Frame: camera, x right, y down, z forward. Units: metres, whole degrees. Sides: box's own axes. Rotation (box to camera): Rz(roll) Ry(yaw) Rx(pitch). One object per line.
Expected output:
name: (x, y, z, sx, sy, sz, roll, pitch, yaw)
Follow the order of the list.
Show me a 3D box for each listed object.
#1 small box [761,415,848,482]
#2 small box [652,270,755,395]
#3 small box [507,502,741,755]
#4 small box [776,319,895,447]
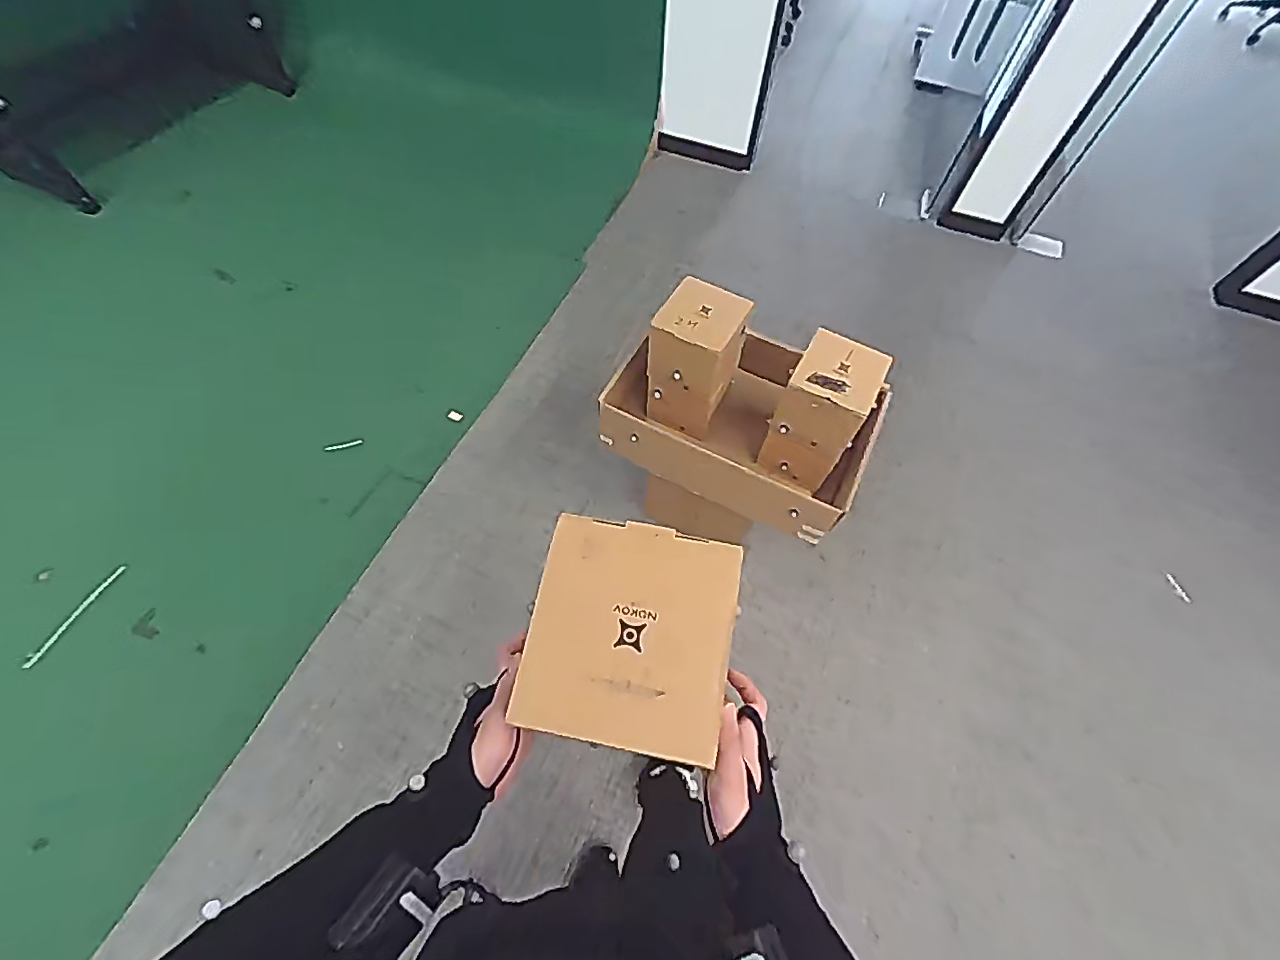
small box: (0.406, -0.126, 1.295, 0.168, 0.176, 0.179, 25, 65, 12)
small box: (0.133, -0.327, 1.210, 0.168, 0.176, 0.179, 27, 65, 13)
small box: (-0.008, 0.140, 0.516, 0.168, 0.176, 0.179, 10, 71, 5)
small box: (0.404, -0.199, 1.147, 0.168, 0.176, 0.179, 27, 65, 12)
